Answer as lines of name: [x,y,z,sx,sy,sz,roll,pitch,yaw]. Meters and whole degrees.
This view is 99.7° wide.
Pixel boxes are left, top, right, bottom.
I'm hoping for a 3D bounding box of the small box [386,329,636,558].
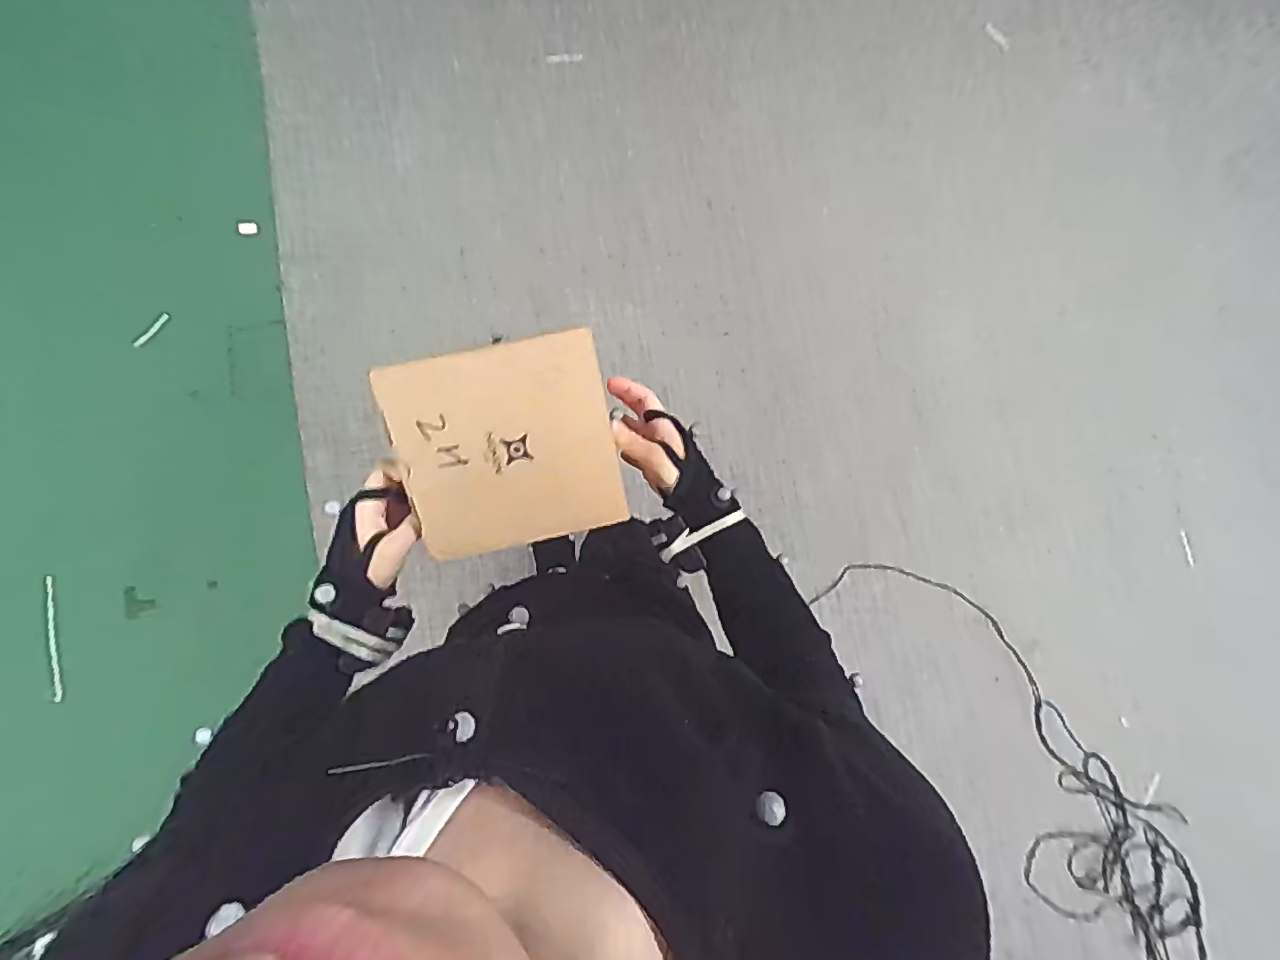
small box: [-0.109,-0.048,0.519,0.179,0.176,0.168,-11,108,-3]
